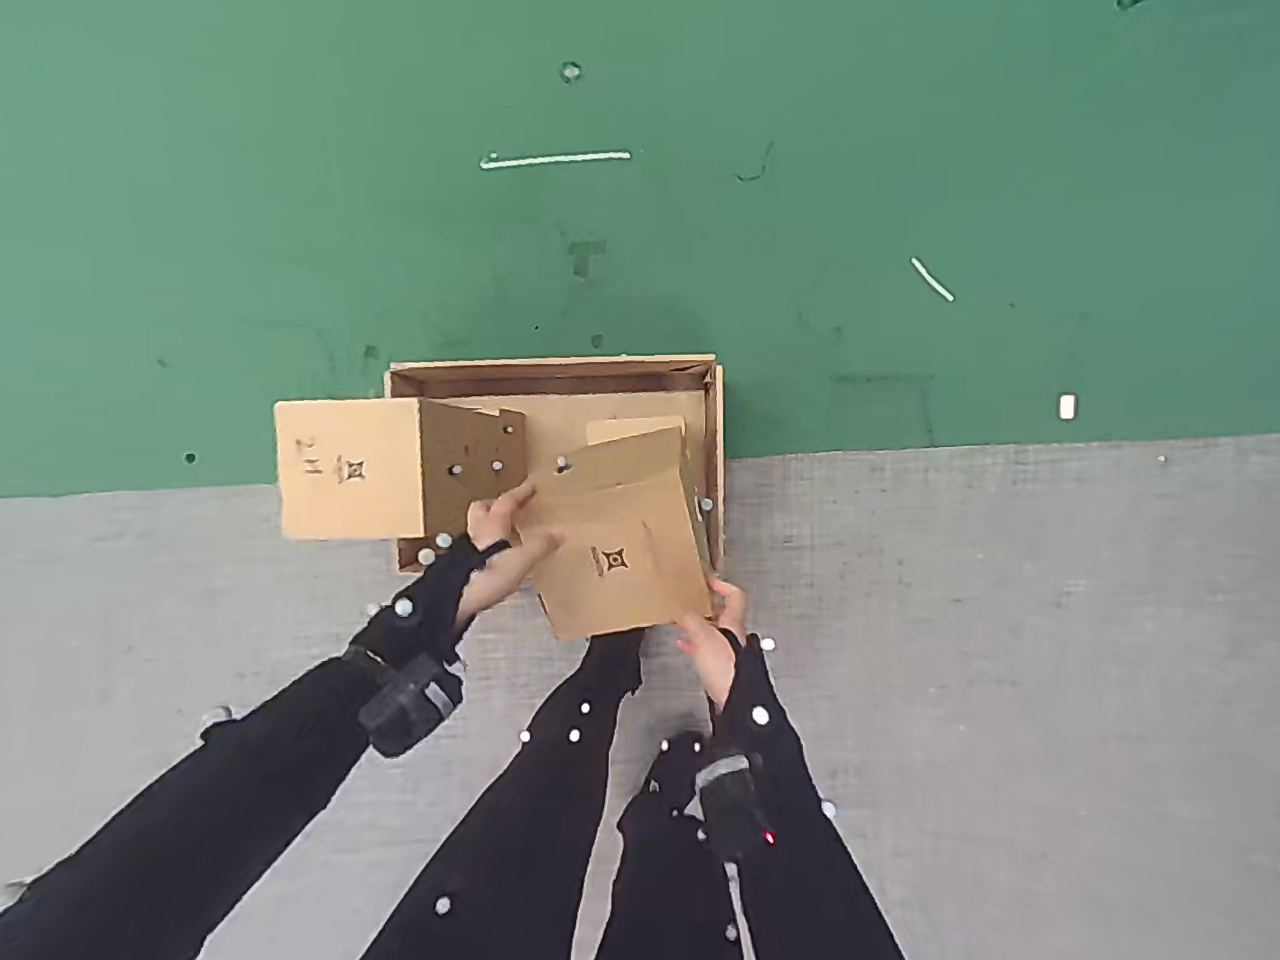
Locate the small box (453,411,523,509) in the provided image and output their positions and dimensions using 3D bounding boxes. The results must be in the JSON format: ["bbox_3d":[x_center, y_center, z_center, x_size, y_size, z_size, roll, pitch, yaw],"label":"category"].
[{"bbox_3d":[-0.328,-0.040,1.038,0.168,0.176,0.179,-2,94,3],"label":"small box"}]

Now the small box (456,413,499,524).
[{"bbox_3d":[-0.340,-0.020,0.875,0.179,0.176,0.168,-1,94,2],"label":"small box"}]

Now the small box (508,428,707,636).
[{"bbox_3d":[-0.025,0.051,0.623,0.179,0.176,0.168,-12,109,8],"label":"small box"}]

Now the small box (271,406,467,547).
[{"bbox_3d":[-0.337,-0.009,0.710,0.179,0.176,0.168,-2,93,3],"label":"small box"}]
